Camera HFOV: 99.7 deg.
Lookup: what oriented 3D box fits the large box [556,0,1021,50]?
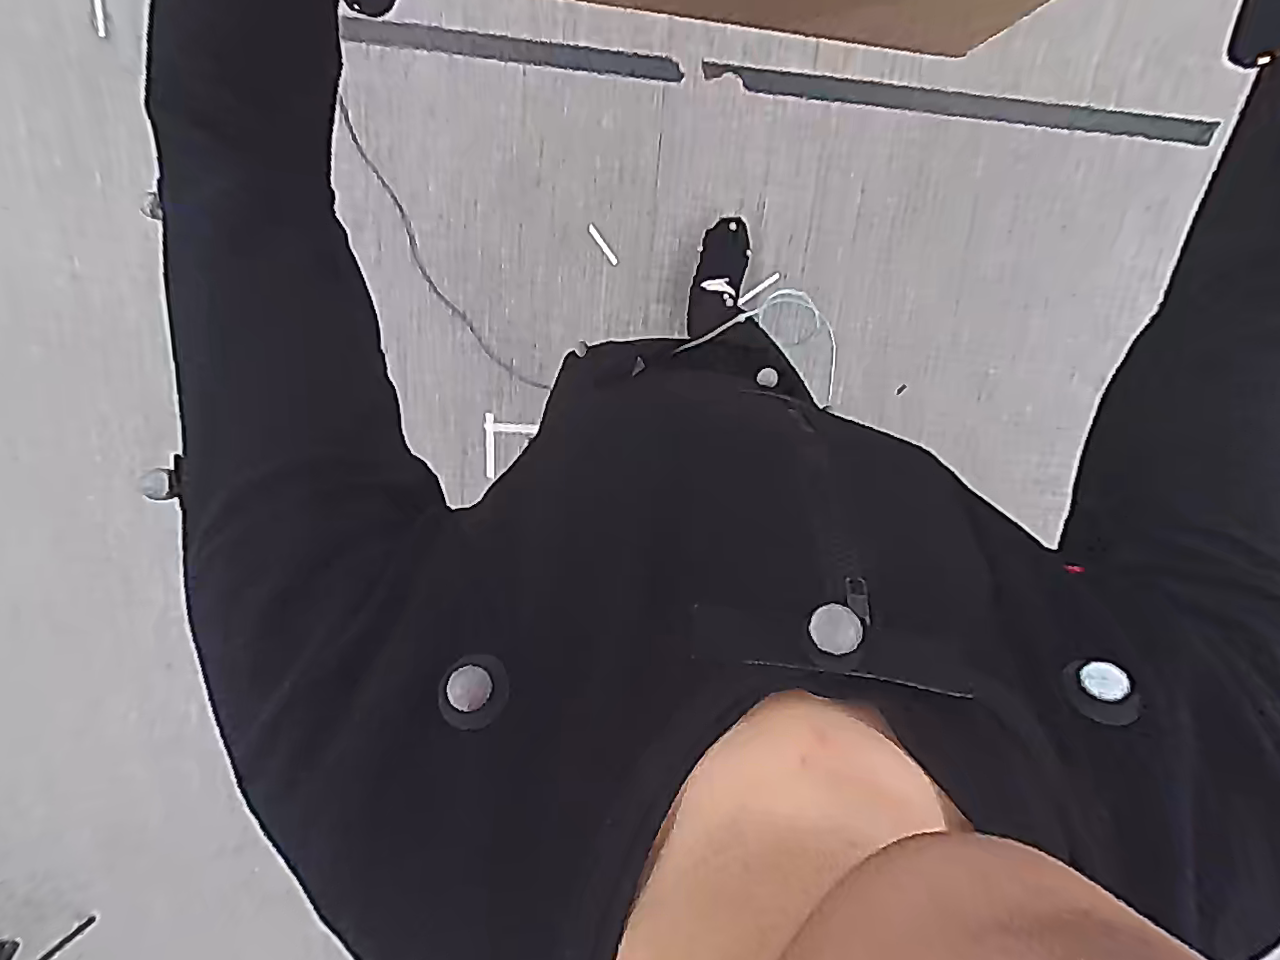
[{"bbox_3d":[0.121,-0.511,0.312,0.408,0.320,0.320,5,111,-5],"label":"large box"}]
